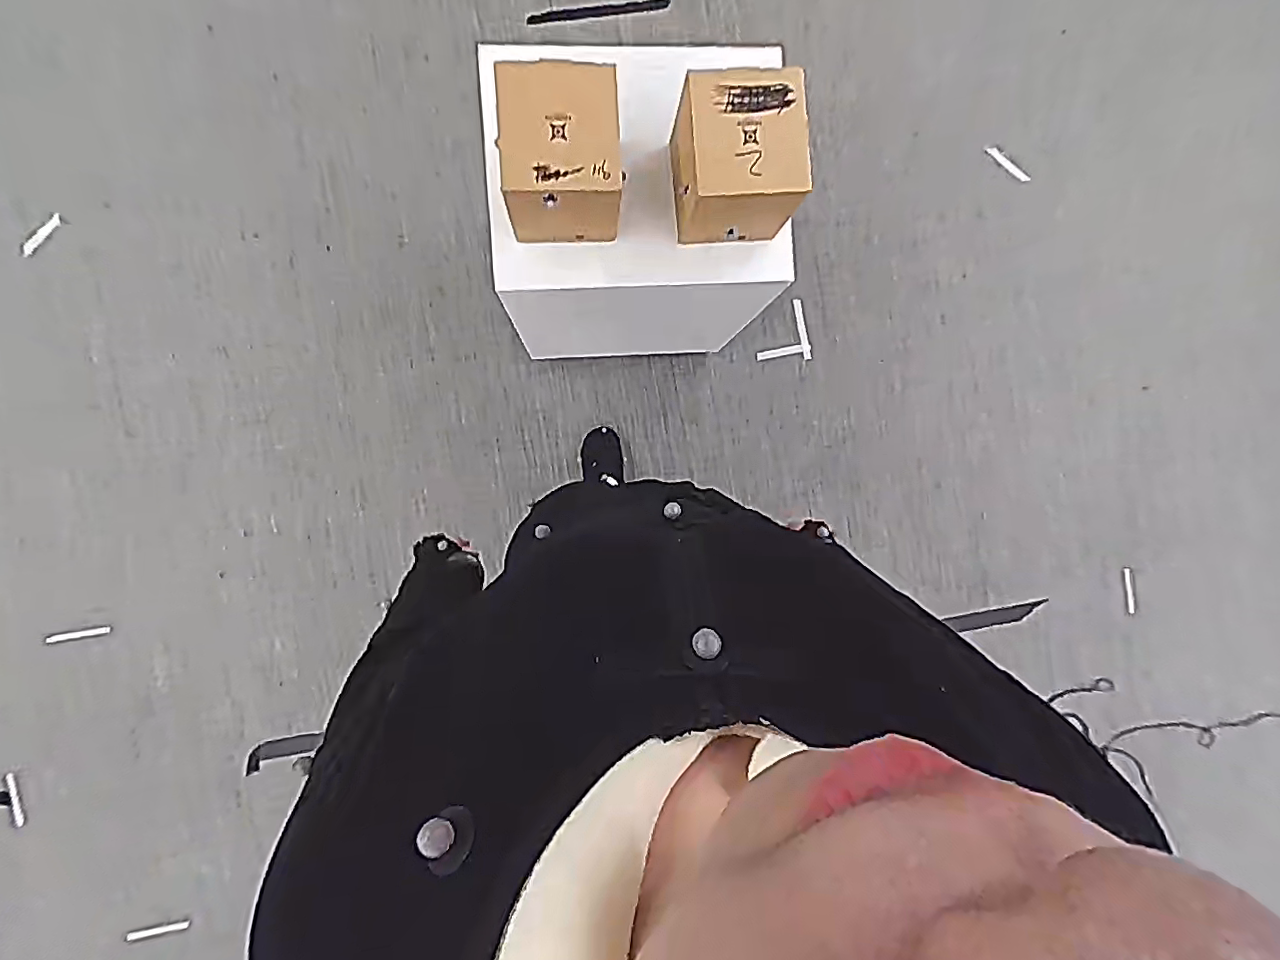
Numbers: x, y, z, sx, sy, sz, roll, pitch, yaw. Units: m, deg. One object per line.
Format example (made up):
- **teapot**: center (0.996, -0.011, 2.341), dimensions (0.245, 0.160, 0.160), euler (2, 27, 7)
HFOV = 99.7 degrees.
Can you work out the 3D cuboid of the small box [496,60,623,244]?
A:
- **small box**: center (-0.116, -0.475, 0.804), dimensions (0.168, 0.176, 0.179), euler (-3, 90, -5)
